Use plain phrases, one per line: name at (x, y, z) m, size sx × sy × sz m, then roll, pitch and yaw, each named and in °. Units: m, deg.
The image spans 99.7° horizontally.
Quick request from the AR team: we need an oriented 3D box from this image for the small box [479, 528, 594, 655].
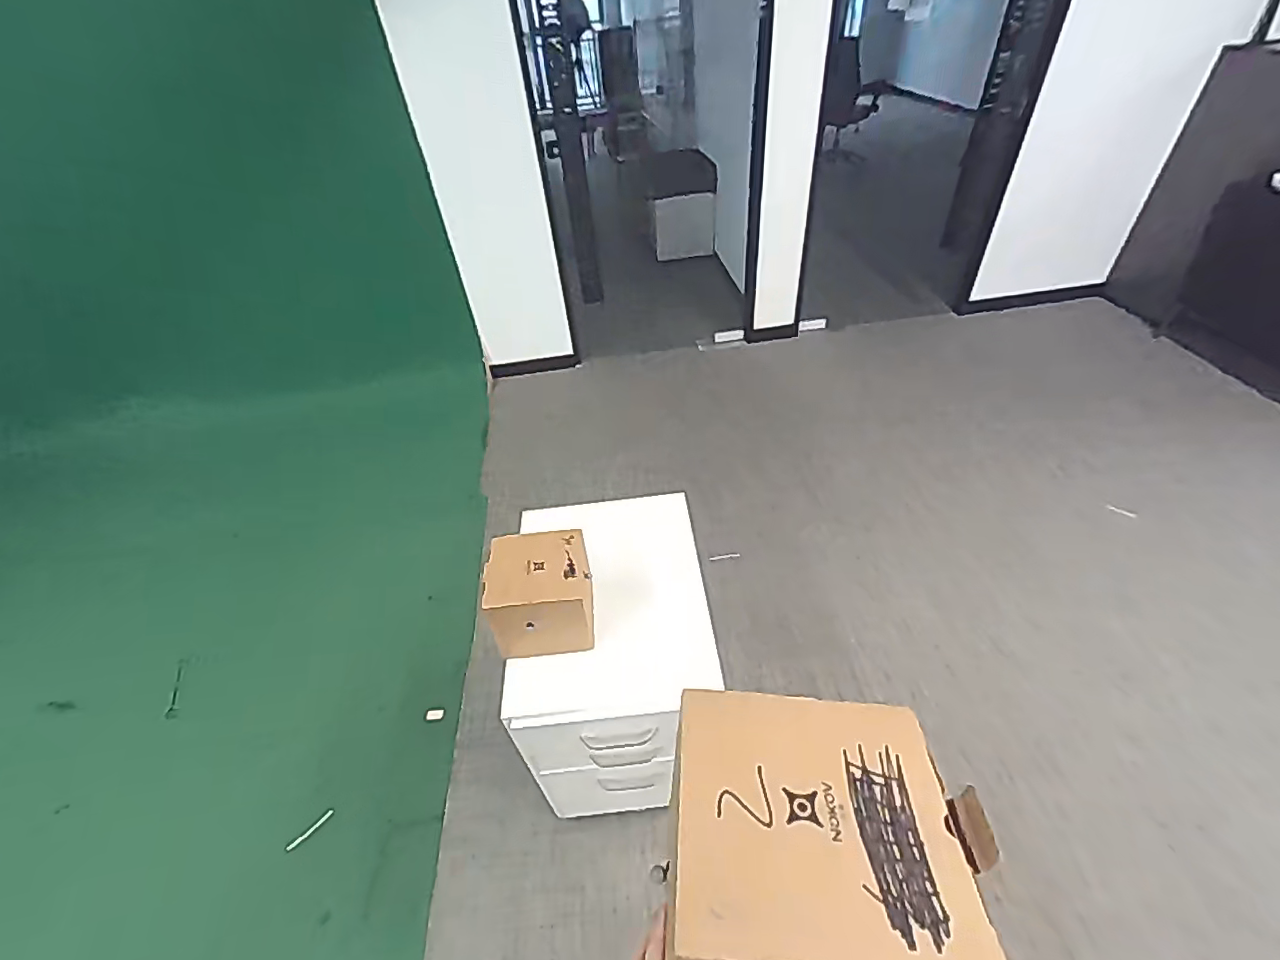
small box at (-0.186, 0.214, 1.022) m, size 0.179 × 0.176 × 0.168 m, roll -6°, pitch 43°, yaw -1°
